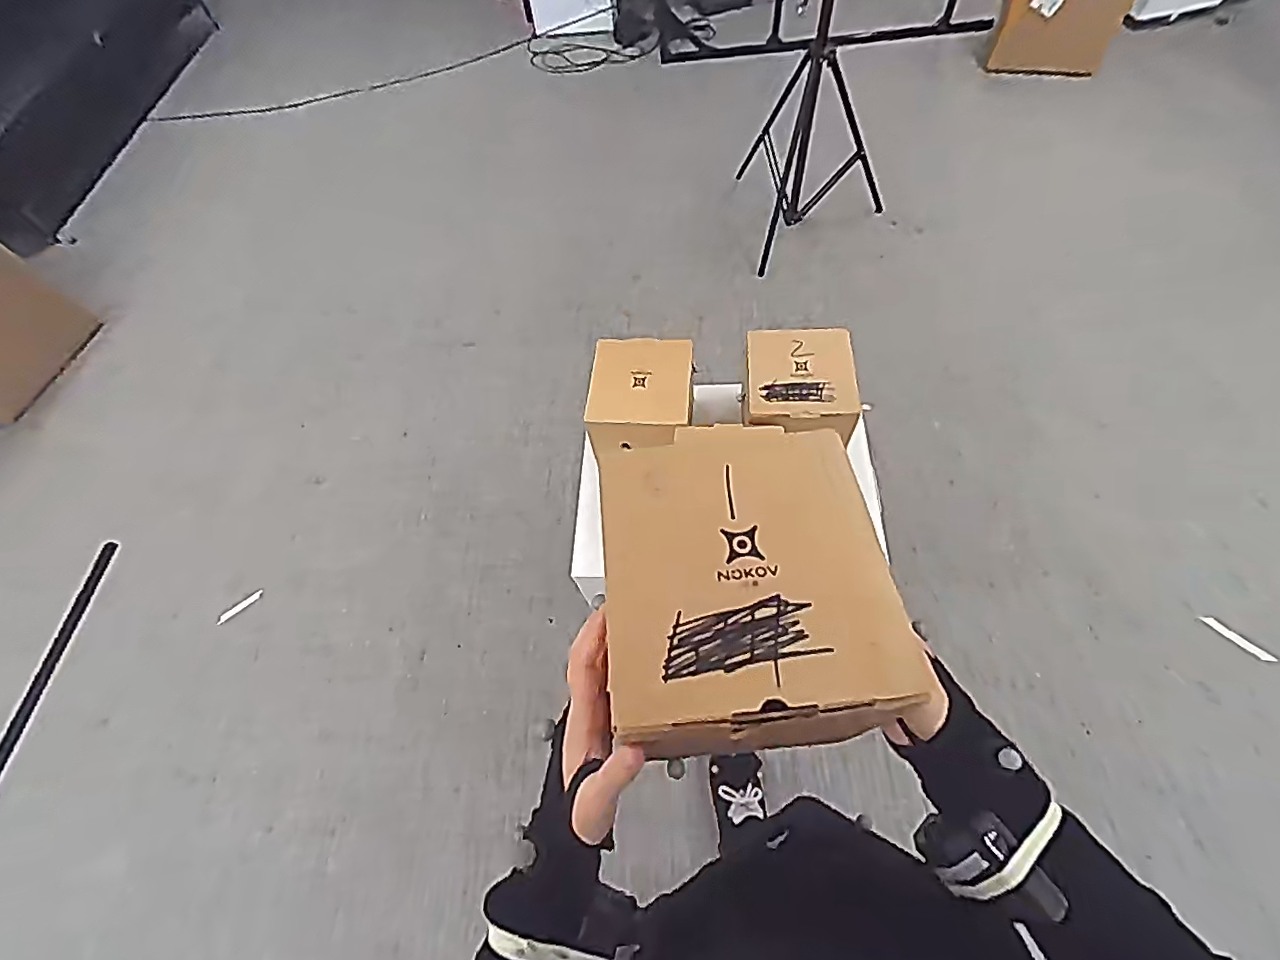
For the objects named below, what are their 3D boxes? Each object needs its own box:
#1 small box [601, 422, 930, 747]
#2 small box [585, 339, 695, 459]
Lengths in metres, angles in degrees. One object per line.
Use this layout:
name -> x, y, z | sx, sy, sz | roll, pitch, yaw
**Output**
small box -> 0.065, 0.084, 0.385 | 0.168, 0.176, 0.179 | -6, 57, -1
small box -> 0.009, -0.124, 0.945 | 0.168, 0.176, 0.179 | 2, 61, 7
